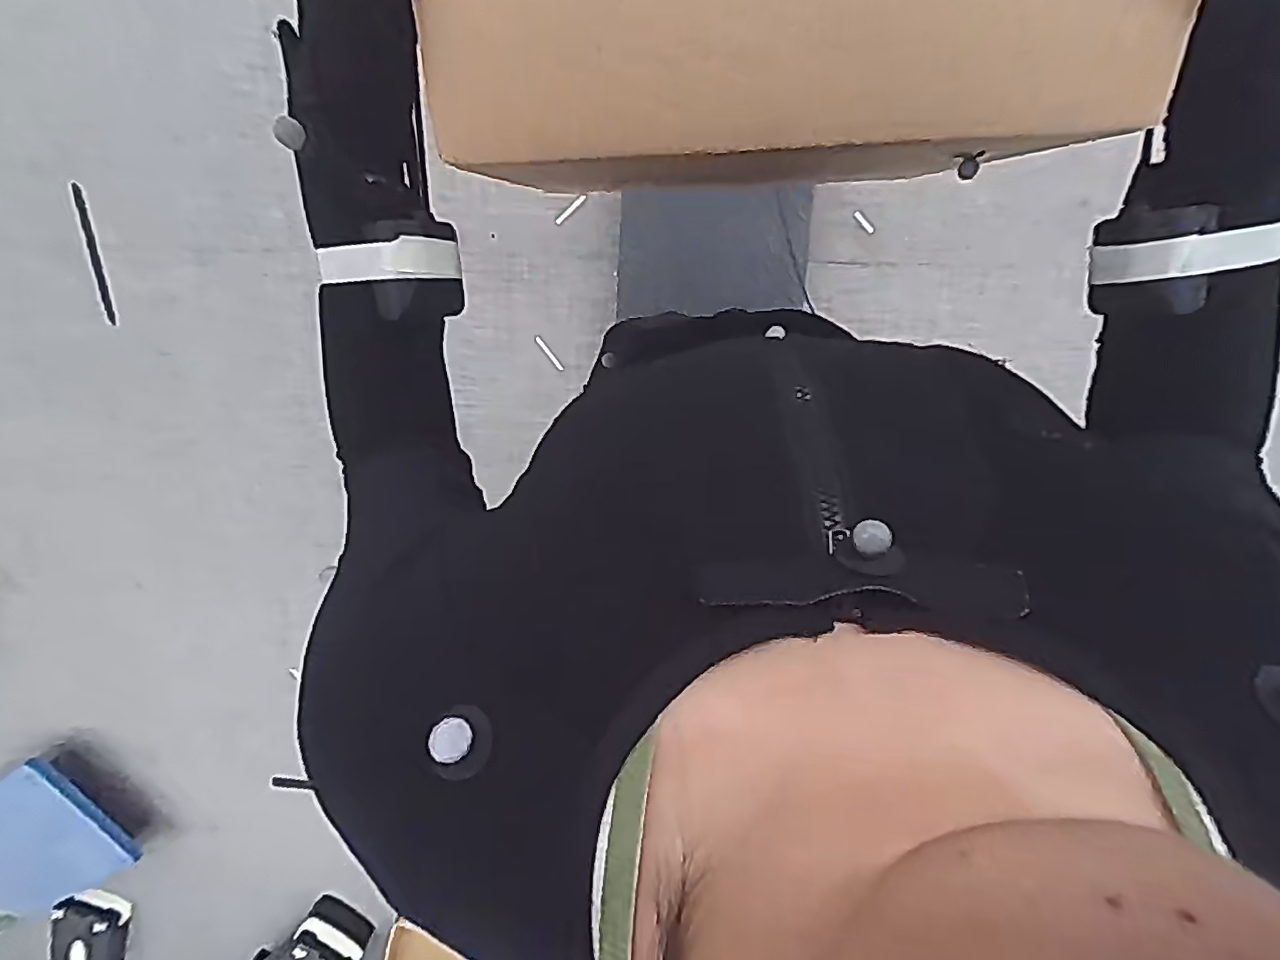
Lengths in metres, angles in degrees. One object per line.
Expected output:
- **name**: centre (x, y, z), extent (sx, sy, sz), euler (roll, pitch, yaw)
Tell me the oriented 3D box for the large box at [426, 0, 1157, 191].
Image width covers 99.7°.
- **large box**: centre (0.082, -0.400, 0.393), extent (0.408, 0.320, 0.320), euler (-1, 115, 3)
